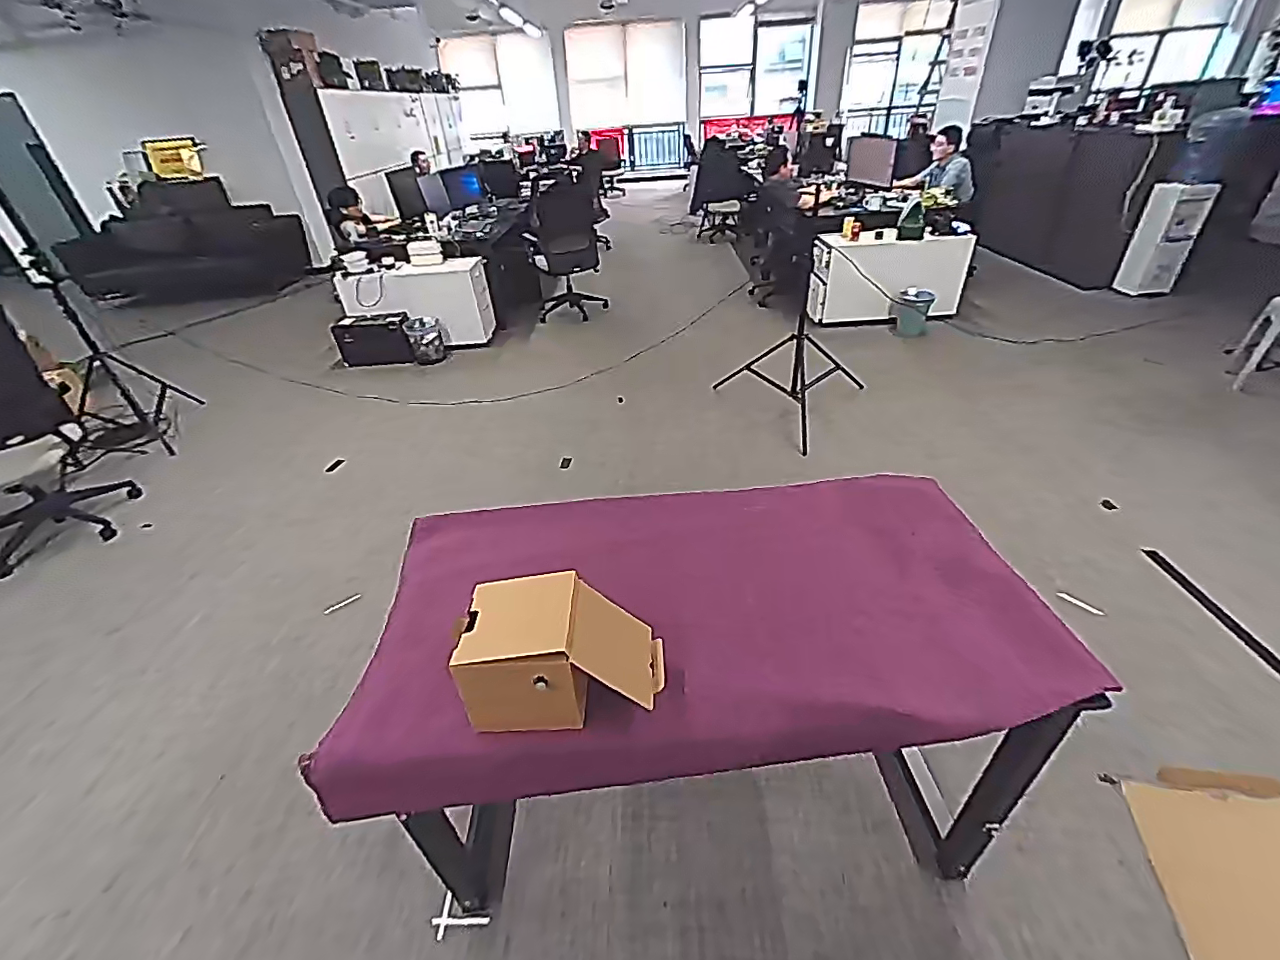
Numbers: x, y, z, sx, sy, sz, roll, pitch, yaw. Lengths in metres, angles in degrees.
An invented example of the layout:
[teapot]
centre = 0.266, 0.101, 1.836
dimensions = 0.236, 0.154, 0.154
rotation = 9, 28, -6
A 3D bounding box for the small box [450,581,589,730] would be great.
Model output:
[small box]
centre = -0.181, 0.285, 0.879
dimensions = 0.179, 0.176, 0.168
rotation = -3, 33, 2
